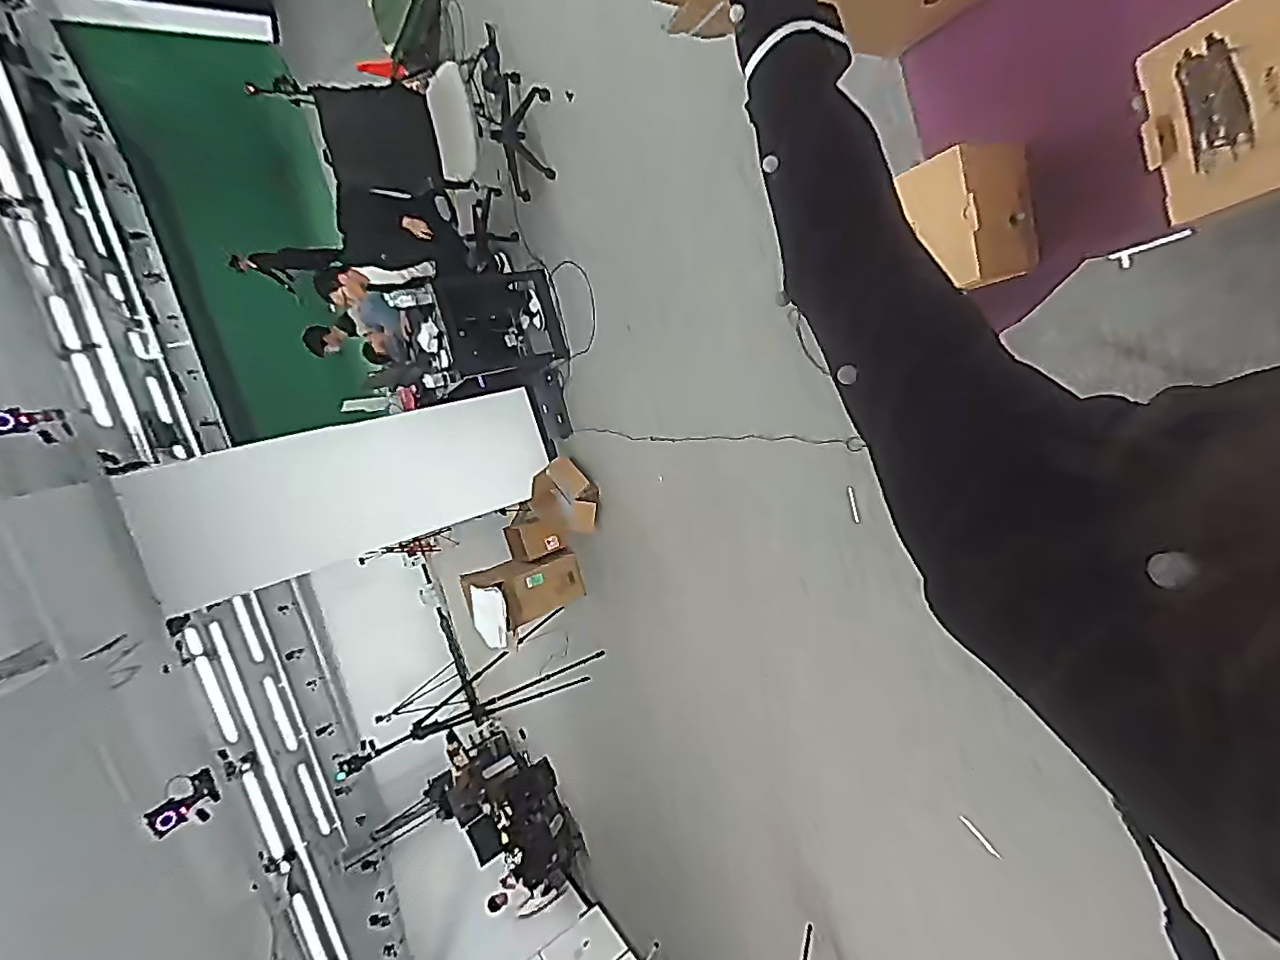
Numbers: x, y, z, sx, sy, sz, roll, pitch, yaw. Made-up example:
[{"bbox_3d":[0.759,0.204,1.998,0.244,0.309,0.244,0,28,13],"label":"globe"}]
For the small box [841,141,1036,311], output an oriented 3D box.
[{"bbox_3d":[0.426,-0.354,0.776,0.179,0.176,0.168,-2,105,57],"label":"small box"}]
